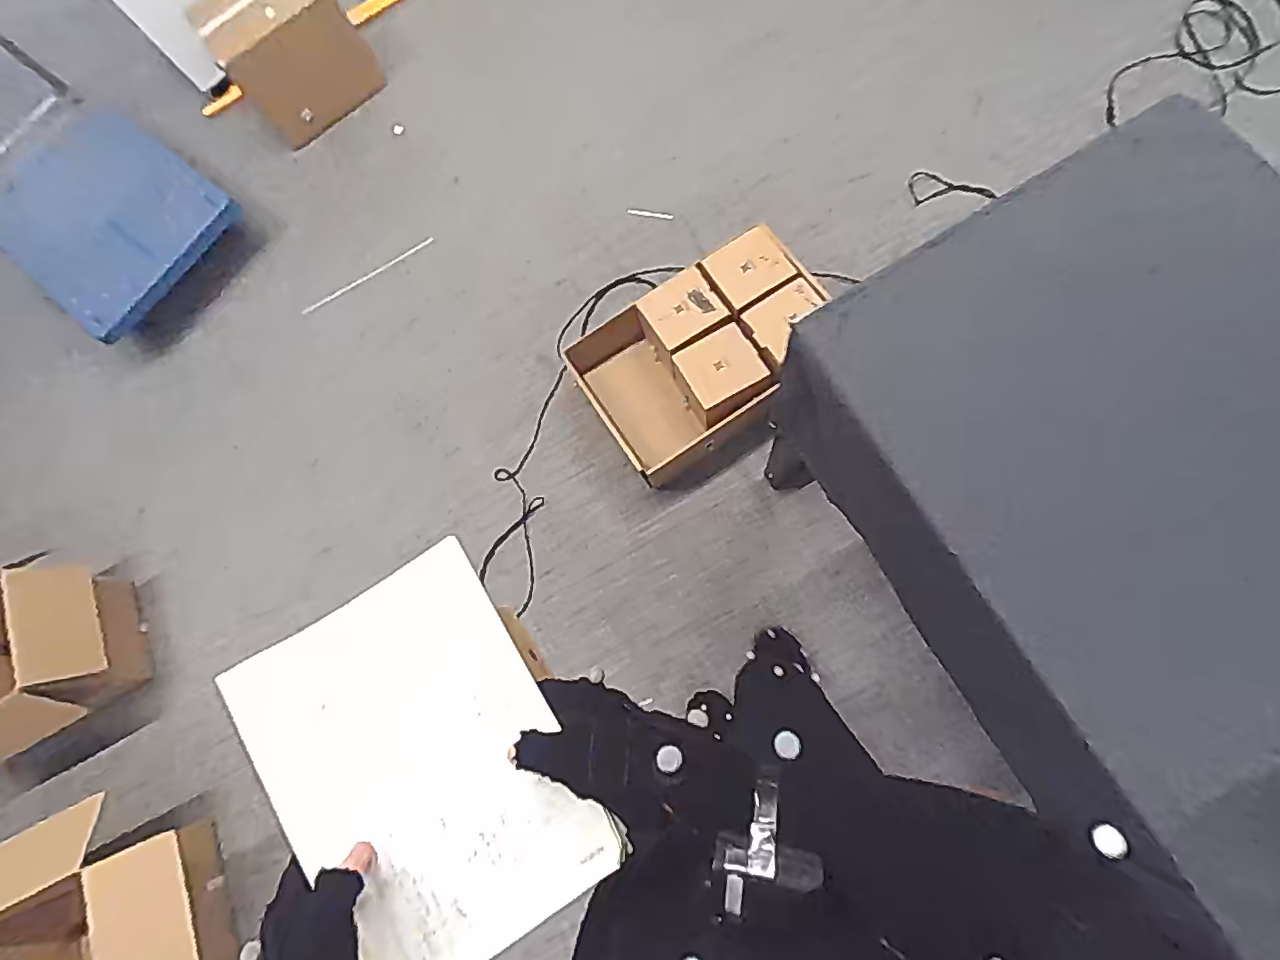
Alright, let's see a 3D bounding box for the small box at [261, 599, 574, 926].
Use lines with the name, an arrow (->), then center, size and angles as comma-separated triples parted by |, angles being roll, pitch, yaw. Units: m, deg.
small box -> -0.173, 0.223, 0.486 | 0.179, 0.176, 0.168 | -36, 79, -7
